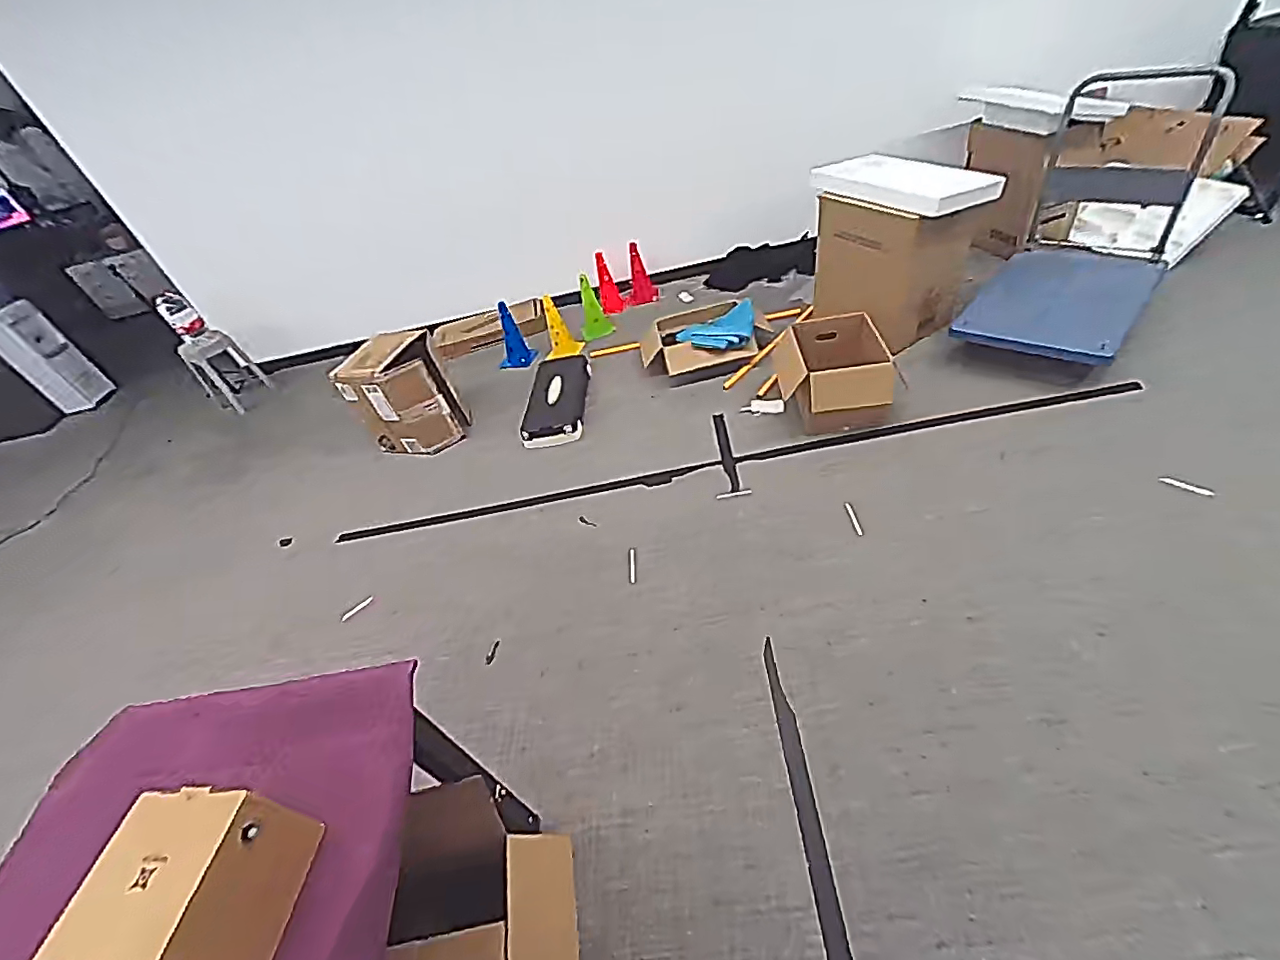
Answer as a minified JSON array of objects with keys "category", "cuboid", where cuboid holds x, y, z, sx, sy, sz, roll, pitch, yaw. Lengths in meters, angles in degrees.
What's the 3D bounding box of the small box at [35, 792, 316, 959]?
[{"category":"small box","cuboid":[-0.551,0.513,0.674,0.168,0.176,0.179,-7,42,10]}]
